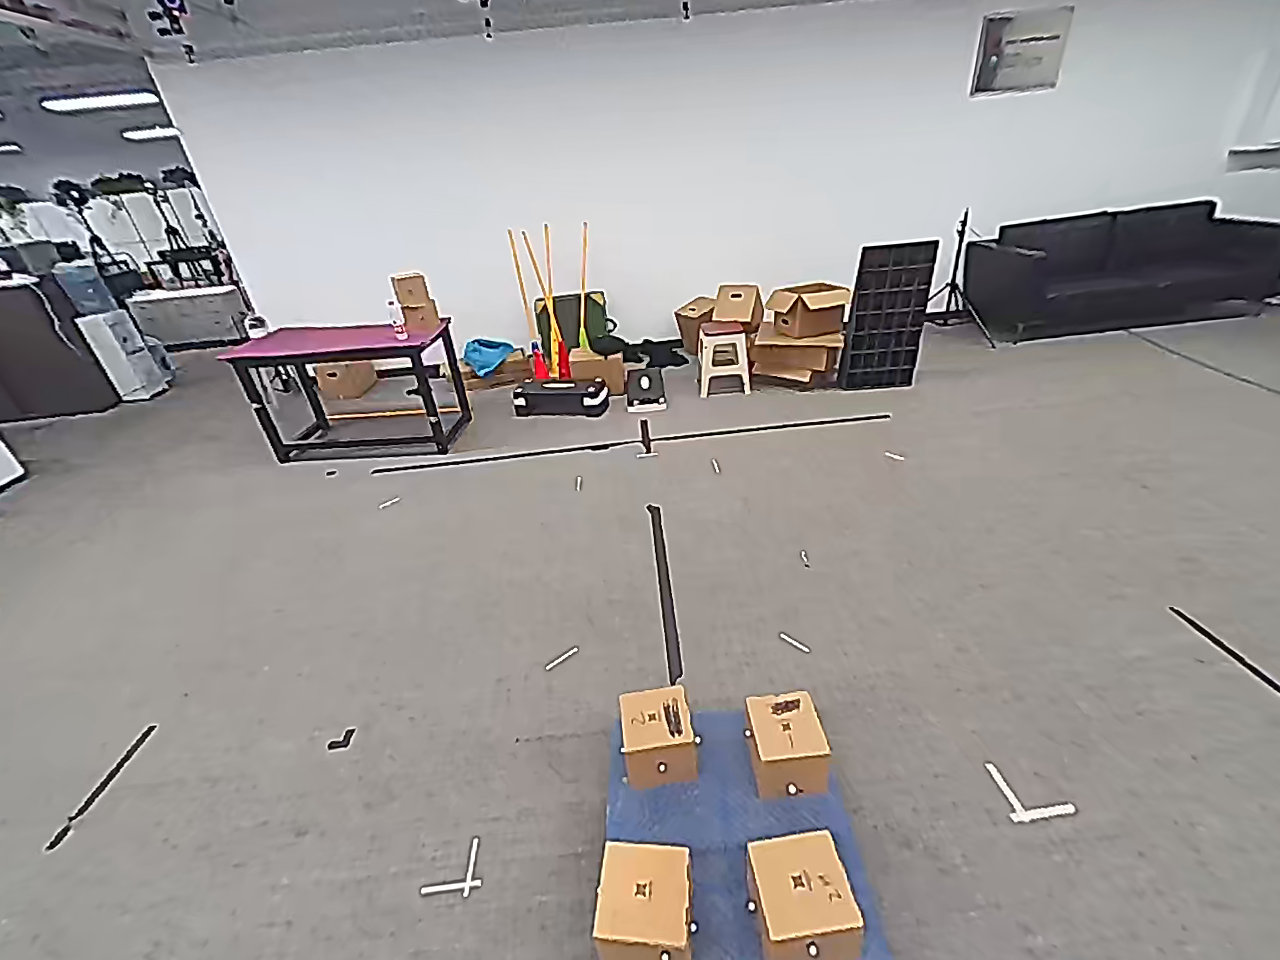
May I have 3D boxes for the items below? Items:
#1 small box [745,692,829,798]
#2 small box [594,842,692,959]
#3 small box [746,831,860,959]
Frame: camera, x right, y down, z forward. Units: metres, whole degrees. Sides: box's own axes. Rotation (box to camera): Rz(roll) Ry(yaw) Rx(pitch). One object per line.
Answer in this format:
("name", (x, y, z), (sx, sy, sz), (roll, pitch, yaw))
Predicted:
("small box", (0.363, 0.671, 1.372), (0.168, 0.176, 0.179), (-6, 31, 0))
("small box", (0.013, 0.871, 1.097), (0.179, 0.176, 0.168), (0, 30, 7))
("small box", (0.318, 0.846, 1.086), (0.179, 0.176, 0.168), (-7, 31, -2))
